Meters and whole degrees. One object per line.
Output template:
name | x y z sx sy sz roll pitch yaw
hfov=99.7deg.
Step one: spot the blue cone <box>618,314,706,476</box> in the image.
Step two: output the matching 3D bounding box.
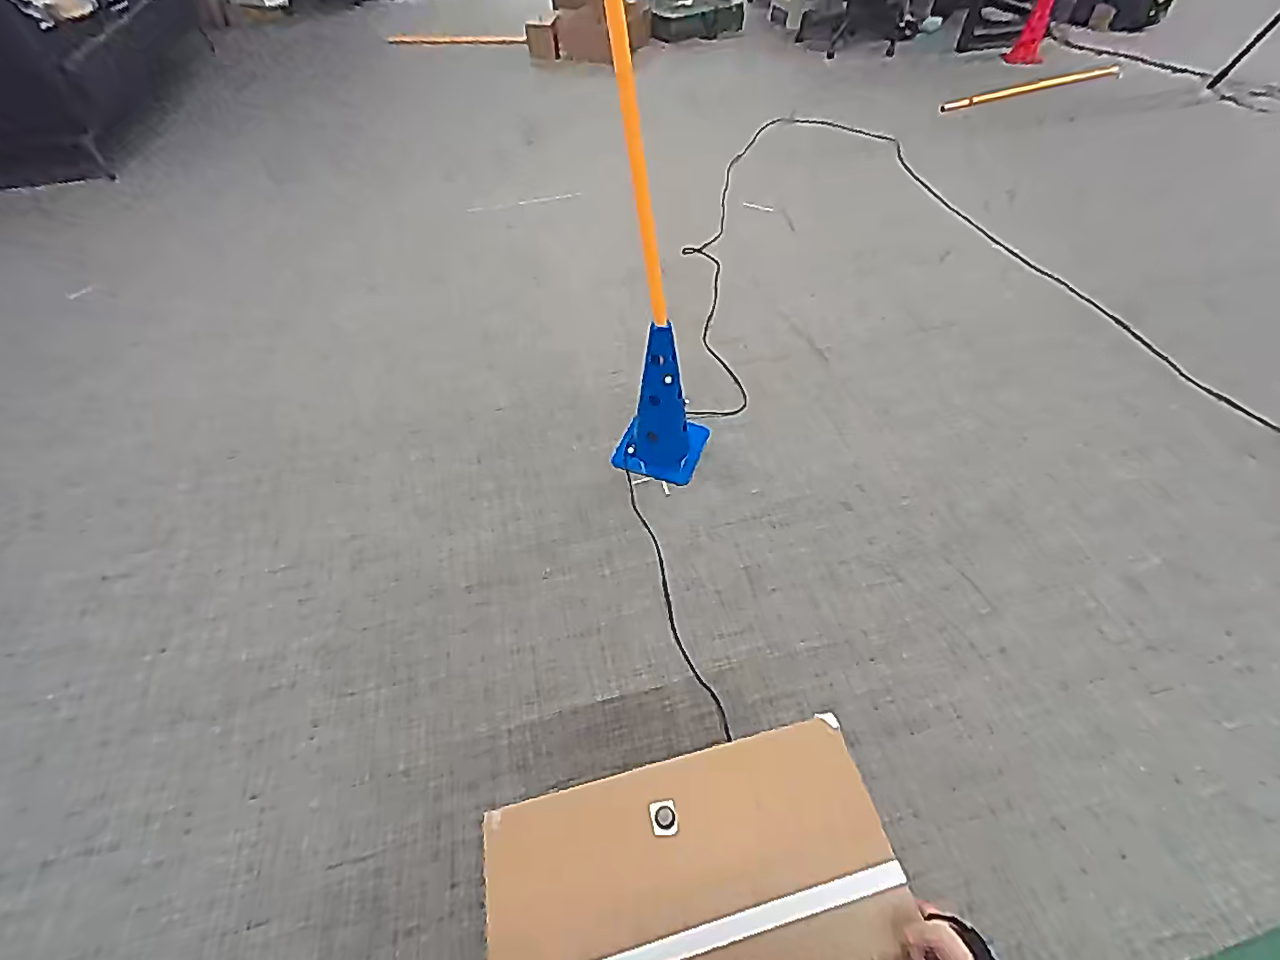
blue cone | 0.048 -0.192 1.186 0.192 0.380 0.193 14 54 14
